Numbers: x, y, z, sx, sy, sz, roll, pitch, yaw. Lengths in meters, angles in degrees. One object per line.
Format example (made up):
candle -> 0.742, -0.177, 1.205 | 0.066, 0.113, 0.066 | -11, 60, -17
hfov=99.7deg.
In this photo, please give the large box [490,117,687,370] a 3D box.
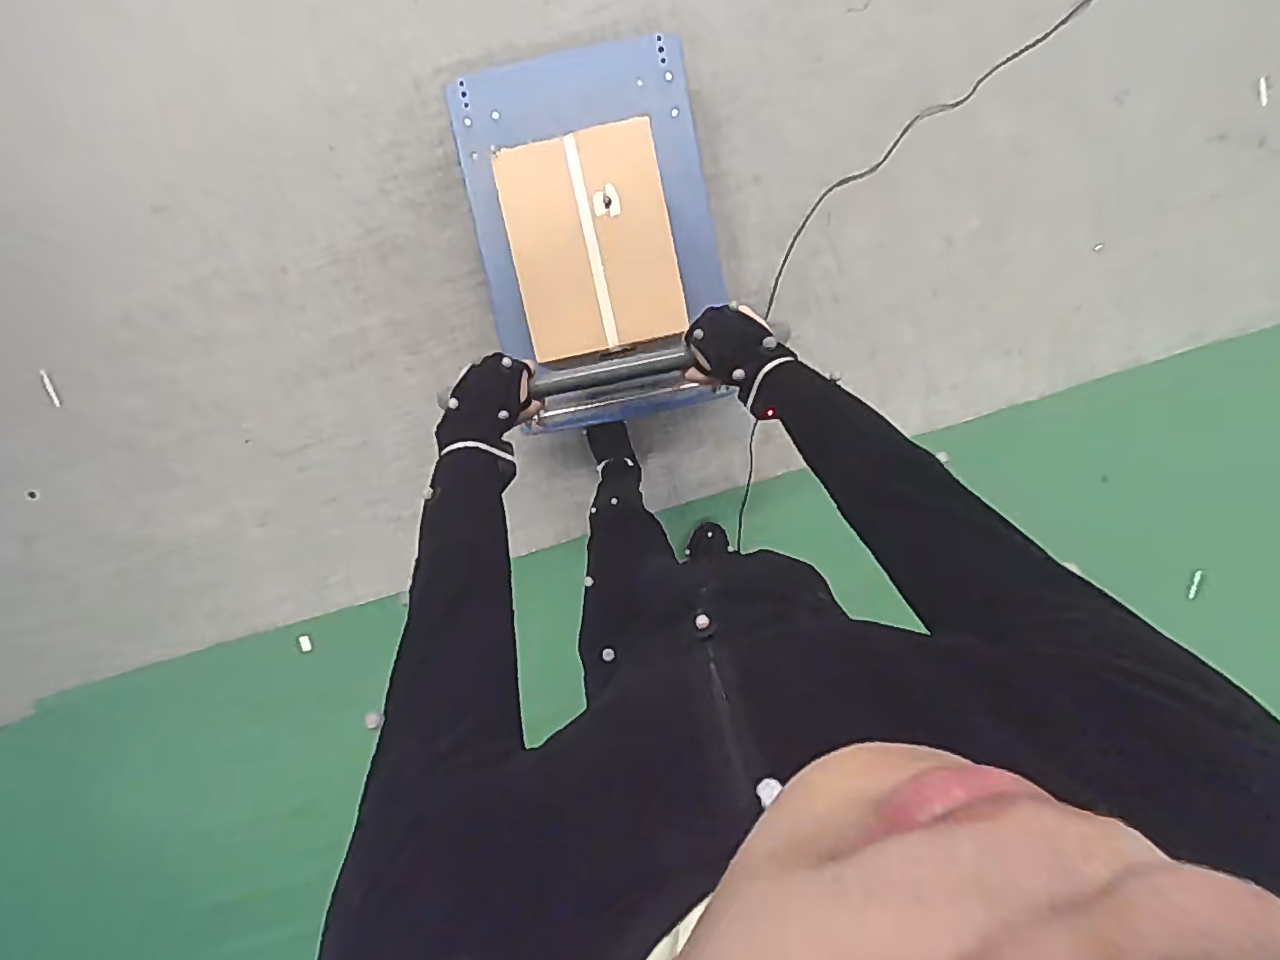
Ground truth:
large box -> -0.093, -0.485, 1.203 | 0.320, 0.320, 0.408 | -12, 97, 2
